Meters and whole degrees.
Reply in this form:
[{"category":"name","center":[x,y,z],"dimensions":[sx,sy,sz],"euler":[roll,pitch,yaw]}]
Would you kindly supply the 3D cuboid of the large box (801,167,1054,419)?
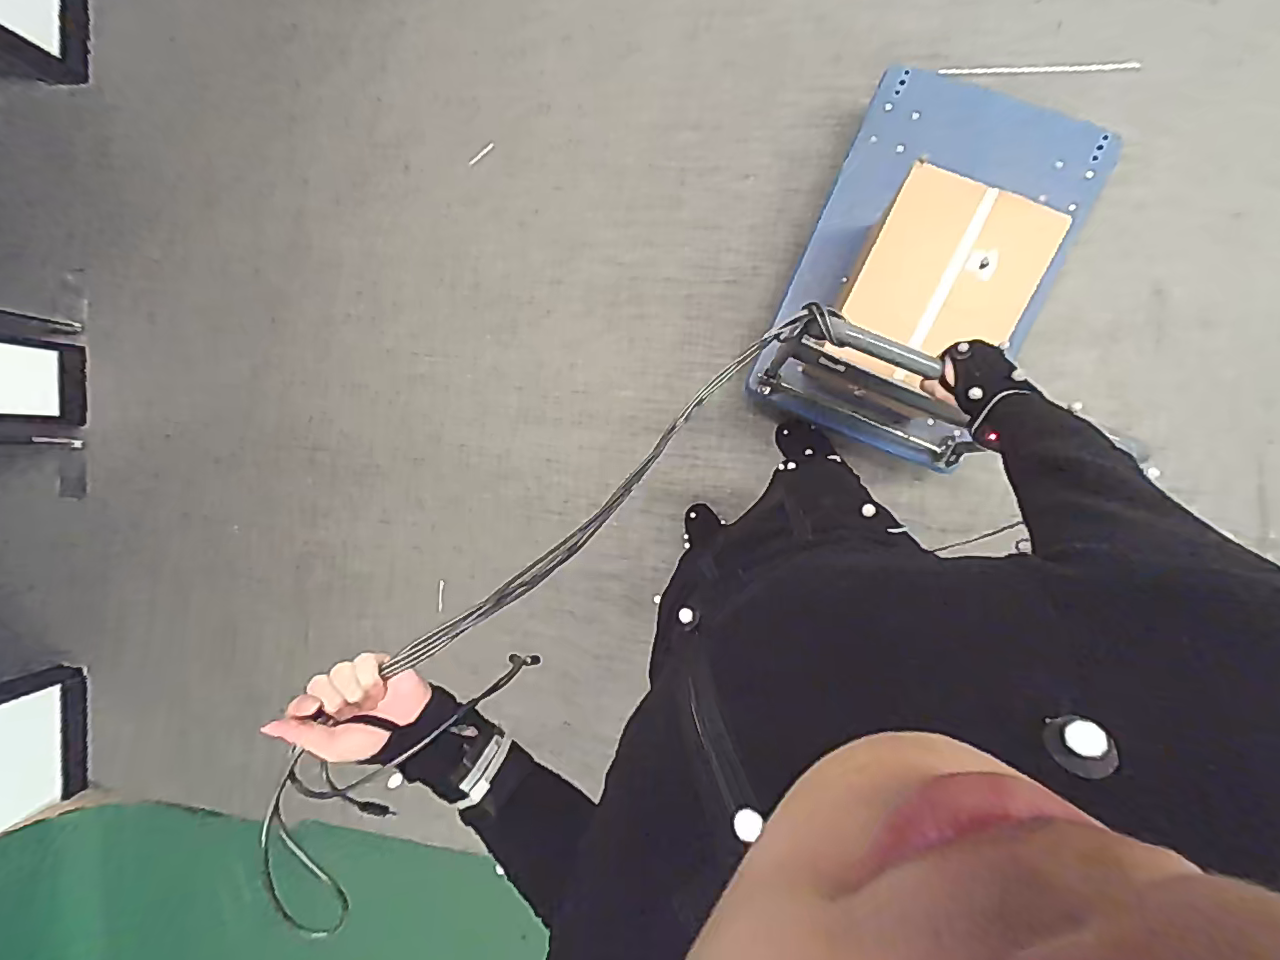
[{"category":"large box","center":[0.605,-0.387,1.223],"dimensions":[0.320,0.320,0.408],"euler":[26,96,6]}]
